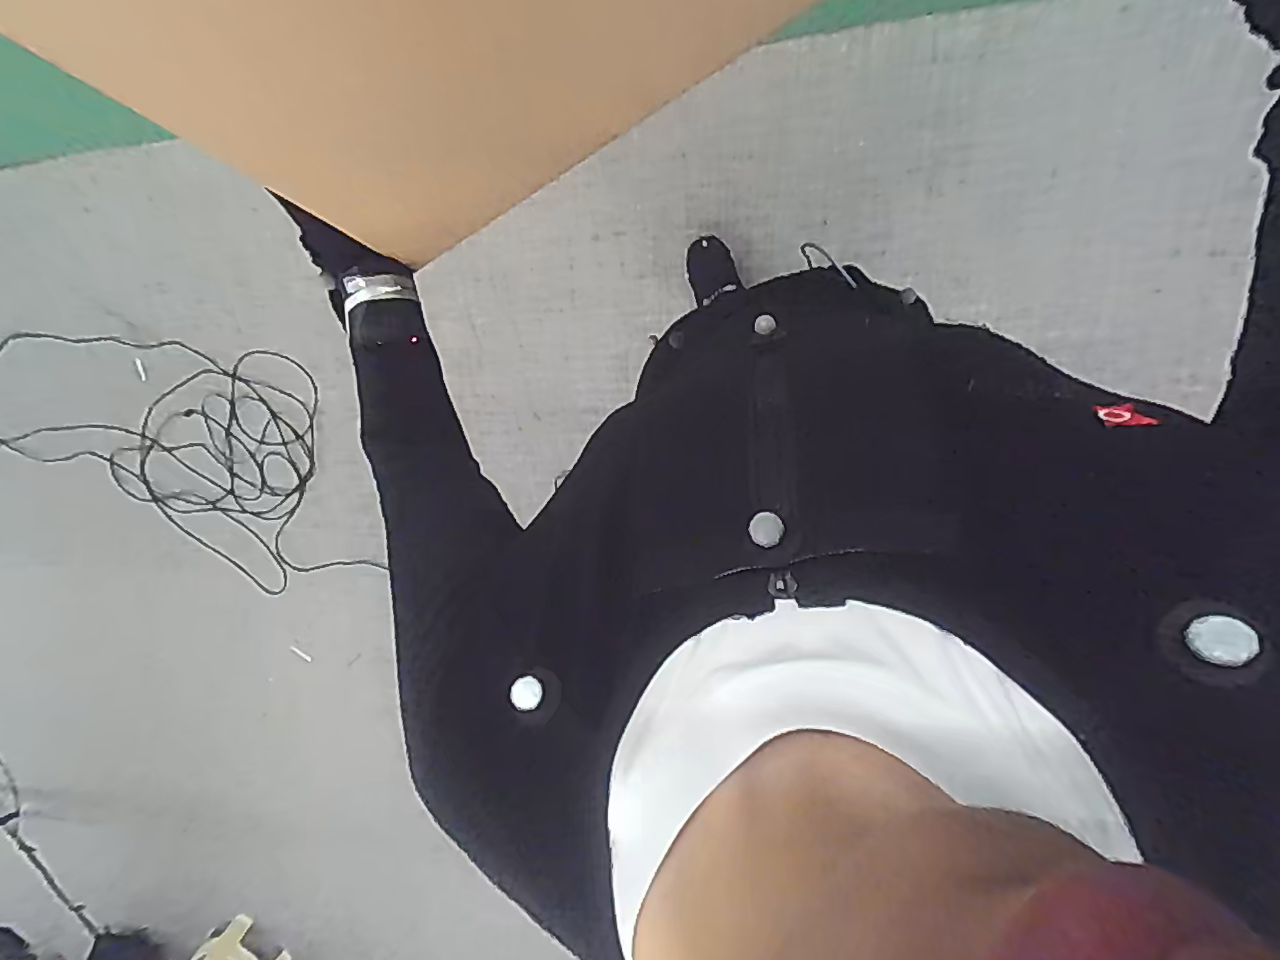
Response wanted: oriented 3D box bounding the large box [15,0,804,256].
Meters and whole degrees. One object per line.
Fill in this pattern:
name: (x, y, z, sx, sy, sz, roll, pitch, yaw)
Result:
large box: (-0.116, -0.393, 0.283, 0.408, 0.320, 0.320, -6, 70, 39)
